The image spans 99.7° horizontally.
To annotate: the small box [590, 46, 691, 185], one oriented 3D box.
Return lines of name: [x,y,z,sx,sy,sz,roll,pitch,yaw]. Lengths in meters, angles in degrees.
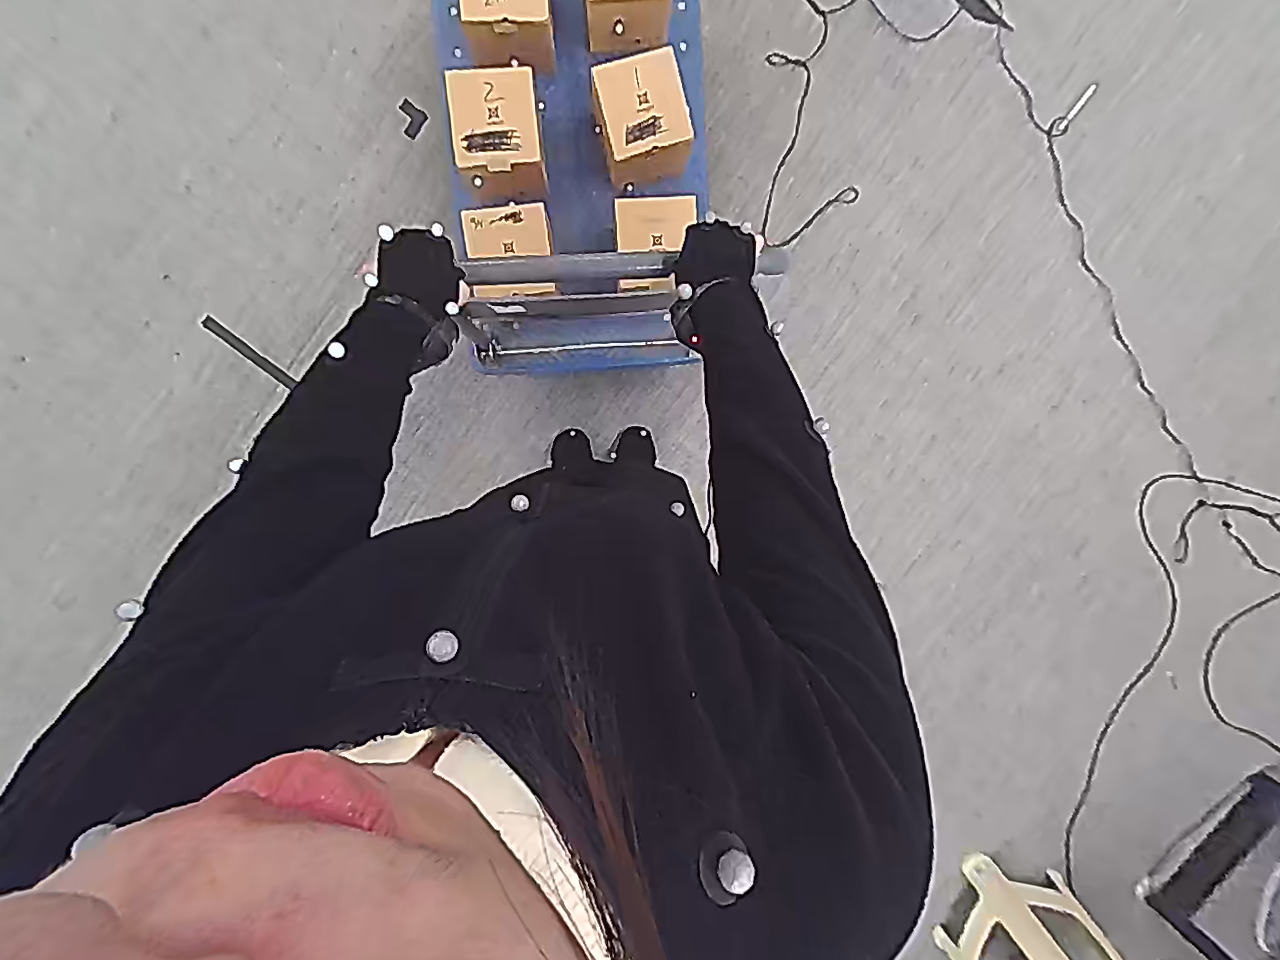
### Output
small box: [0.000,-0.748,1.135,0.168,0.176,0.179,-16,98,-2]

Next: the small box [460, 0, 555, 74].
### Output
small box: [-0.263,-0.961,1.084,0.168,0.176,0.179,-3,99,-3]

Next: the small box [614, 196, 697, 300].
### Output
small box: [0.030,-0.495,1.174,0.168,0.176,0.179,-4,98,-4]

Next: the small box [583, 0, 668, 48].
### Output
small box: [-0.034,-1.015,1.094,0.168,0.176,0.179,-7,98,-3]

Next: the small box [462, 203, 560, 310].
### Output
small box: [-0.267,-0.467,1.156,0.168,0.176,0.179,-8,99,-4]
